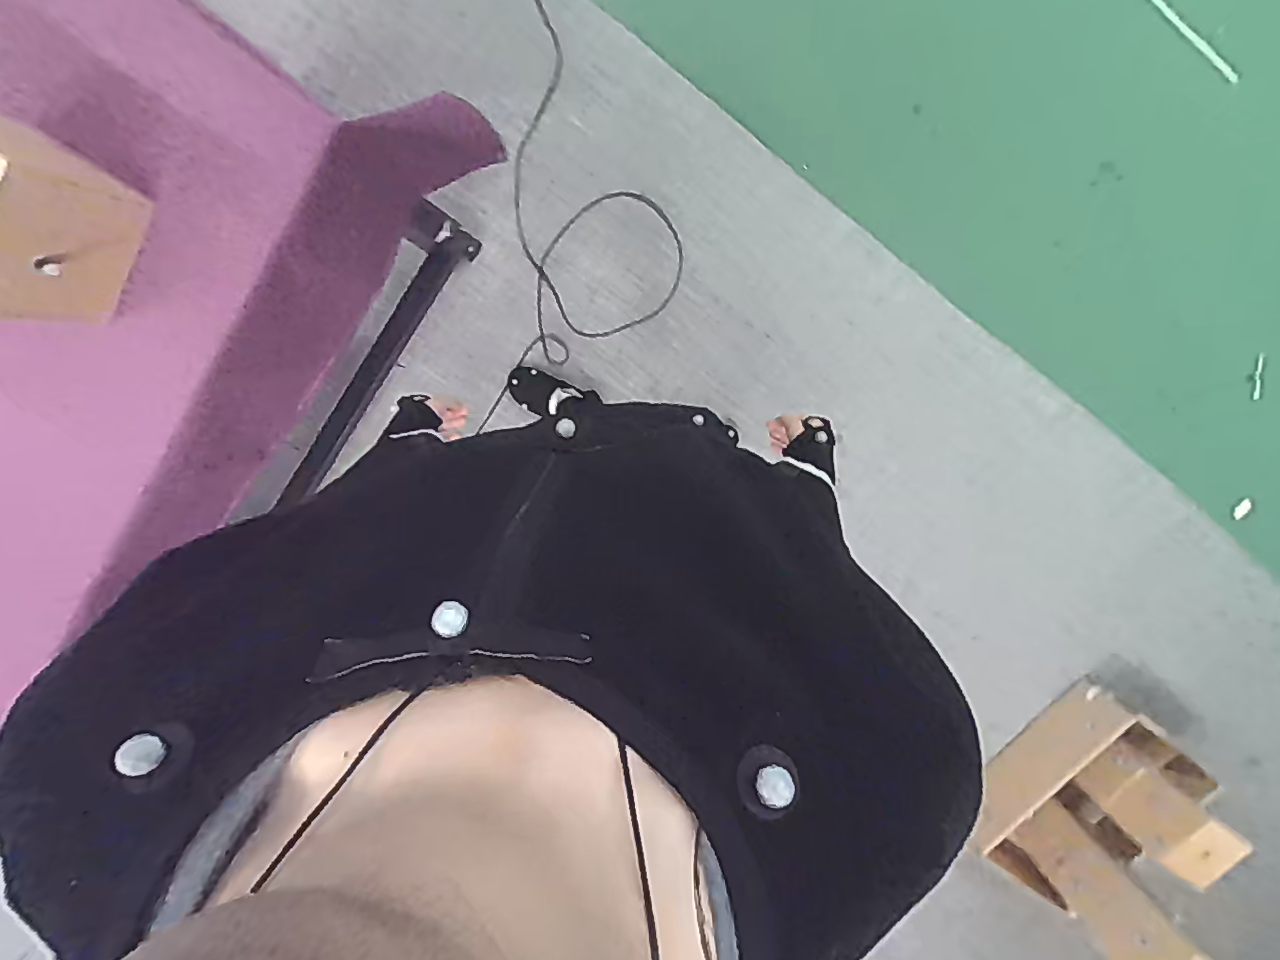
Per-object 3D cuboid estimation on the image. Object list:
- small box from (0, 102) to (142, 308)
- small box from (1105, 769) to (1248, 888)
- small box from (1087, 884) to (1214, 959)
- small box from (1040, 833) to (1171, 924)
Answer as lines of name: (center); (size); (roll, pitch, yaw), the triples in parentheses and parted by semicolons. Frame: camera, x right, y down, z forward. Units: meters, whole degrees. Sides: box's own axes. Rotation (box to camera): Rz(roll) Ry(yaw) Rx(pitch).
small box: (-0.716, -0.308, 0.593); (0.168, 0.176, 0.179); (33, 101, -8)
small box: (1.413, 0.917, 1.438); (0.168, 0.176, 0.179); (34, 102, -7)
small box: (1.255, 1.153, 1.322); (0.168, 0.176, 0.179); (38, 99, -8)
small box: (1.261, 1.116, 1.482); (0.179, 0.176, 0.168); (37, 100, -8)
